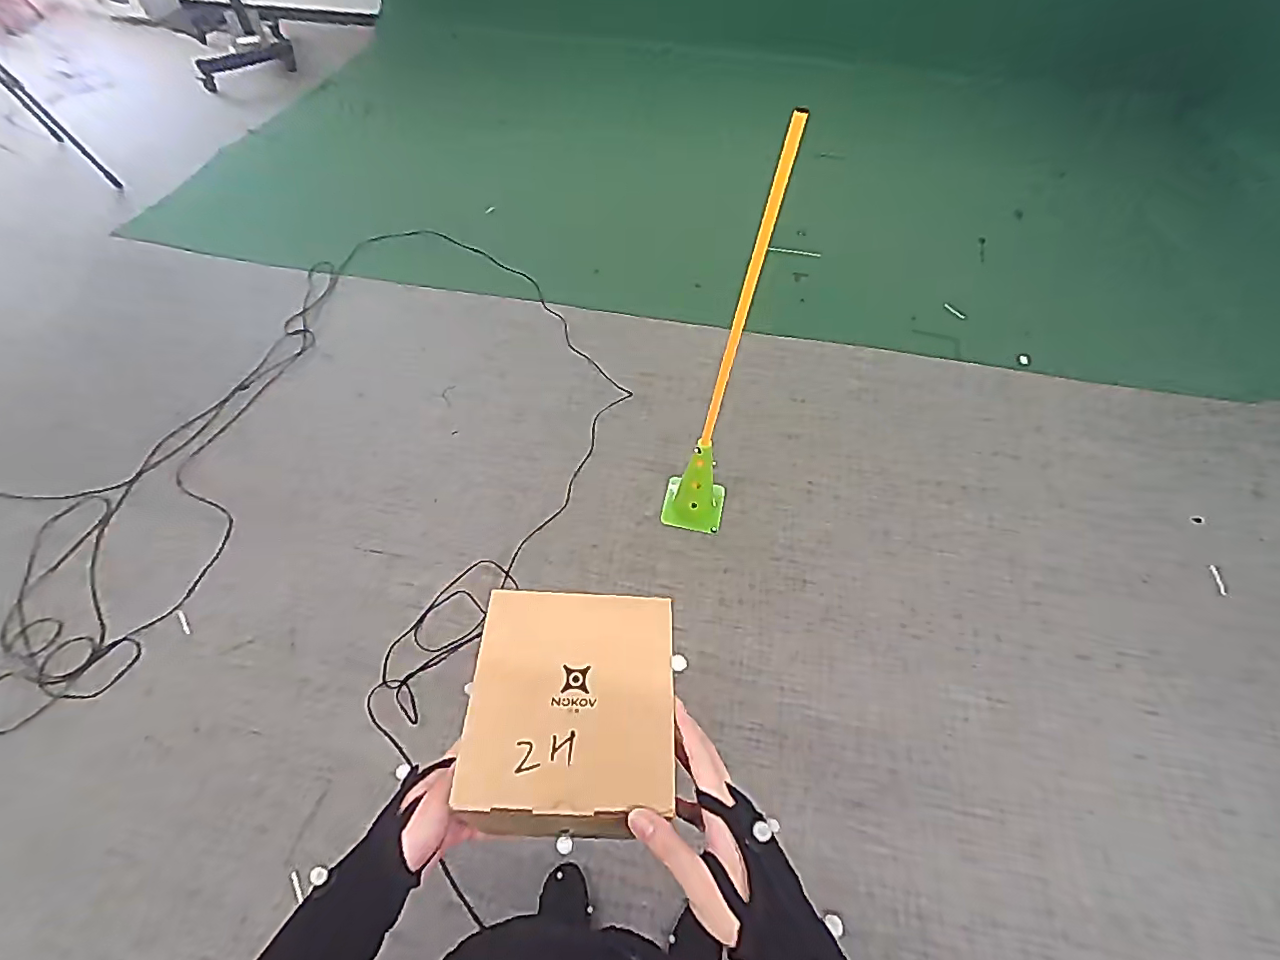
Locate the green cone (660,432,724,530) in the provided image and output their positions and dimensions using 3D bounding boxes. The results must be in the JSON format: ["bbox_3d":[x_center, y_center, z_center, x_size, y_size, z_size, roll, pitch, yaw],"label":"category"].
[{"bbox_3d":[0.182,-0.024,1.715,0.202,0.368,0.200,10,55,7],"label":"green cone"}]
